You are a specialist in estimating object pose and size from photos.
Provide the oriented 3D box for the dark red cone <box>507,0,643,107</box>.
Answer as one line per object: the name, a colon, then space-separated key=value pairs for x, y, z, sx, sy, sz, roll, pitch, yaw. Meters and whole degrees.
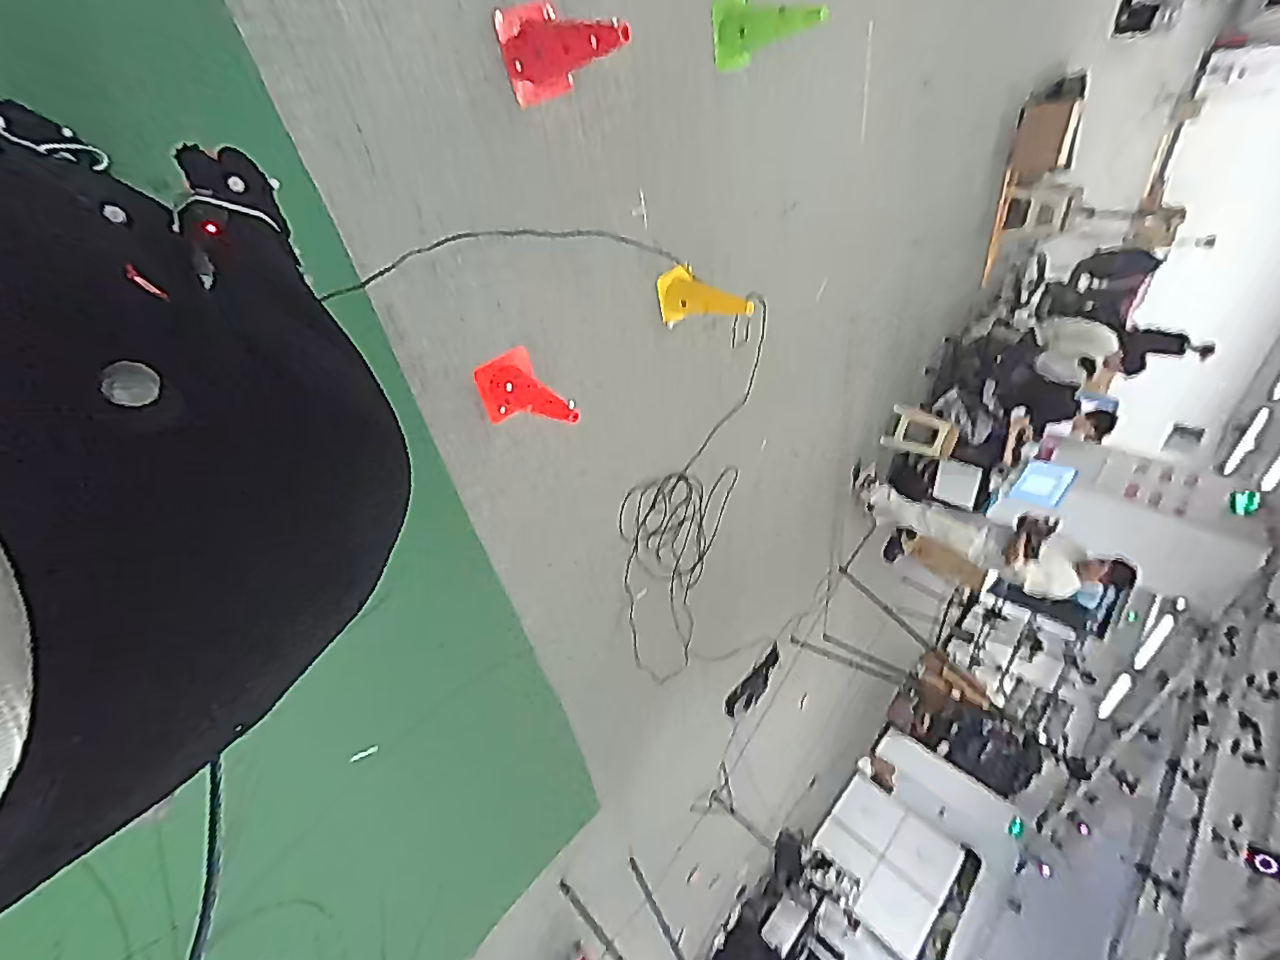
dark red cone: x=-0.136 y=-1.060 z=1.318 sx=0.201 sy=0.394 sz=0.202 roll=-40 pitch=136 yaw=-24

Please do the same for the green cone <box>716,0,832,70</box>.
green cone: x=0.448 y=-1.488 z=1.757 sx=0.200 sy=0.368 sz=0.202 roll=-38 pitch=136 yaw=-27

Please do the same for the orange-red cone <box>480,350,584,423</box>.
orange-red cone: x=-0.294 y=-0.243 z=1.643 sx=0.199 sy=0.360 sz=0.198 roll=-37 pitch=136 yaw=-29
